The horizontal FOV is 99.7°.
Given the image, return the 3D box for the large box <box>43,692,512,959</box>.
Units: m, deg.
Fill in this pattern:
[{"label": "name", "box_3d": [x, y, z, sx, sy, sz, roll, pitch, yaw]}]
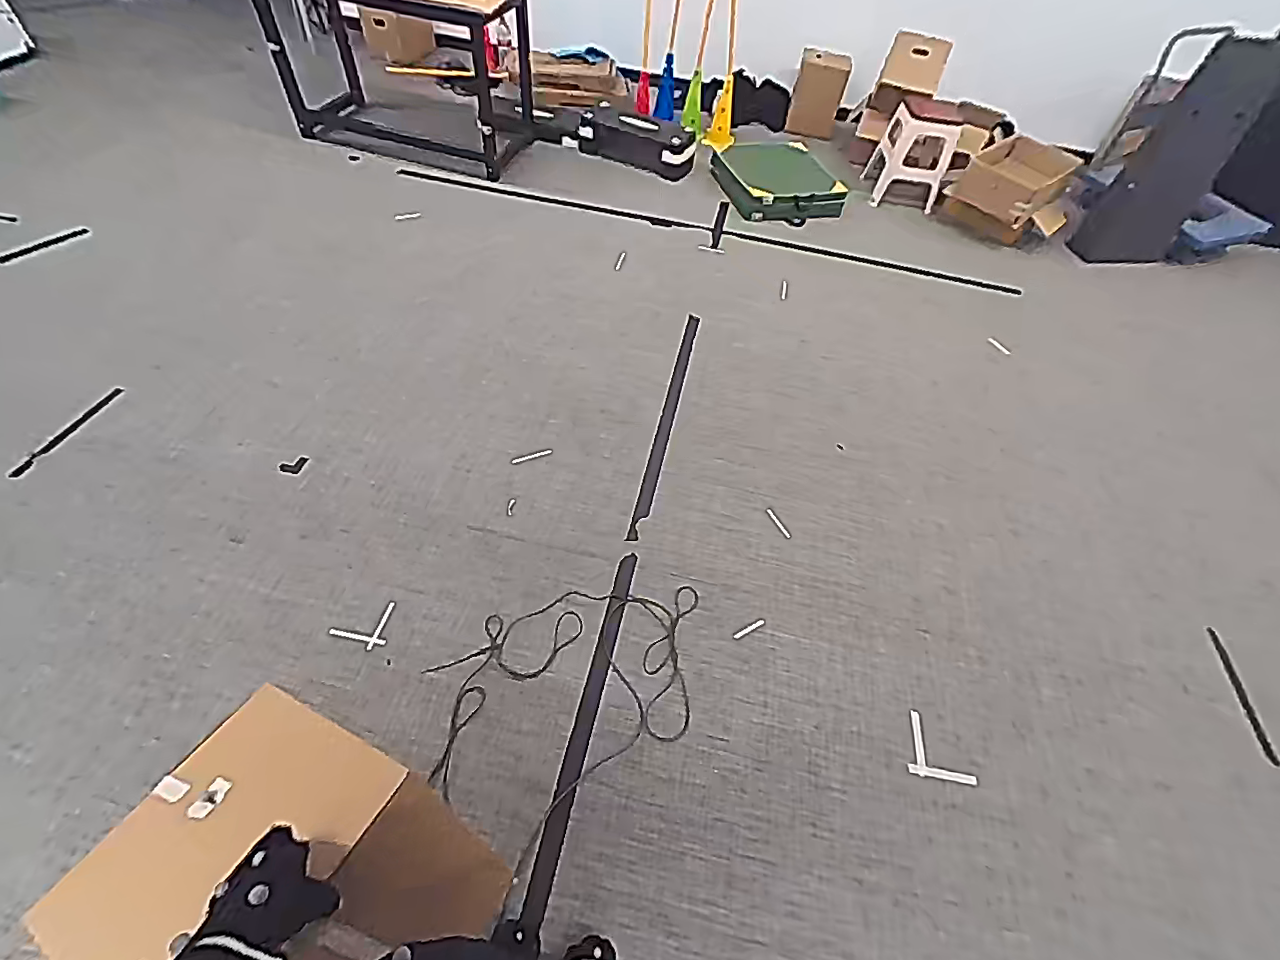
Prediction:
[{"label": "large box", "box_3d": [-0.450, 0.574, 0.760, 0.320, 0.408, 0.320, 13, 45, 28]}]
